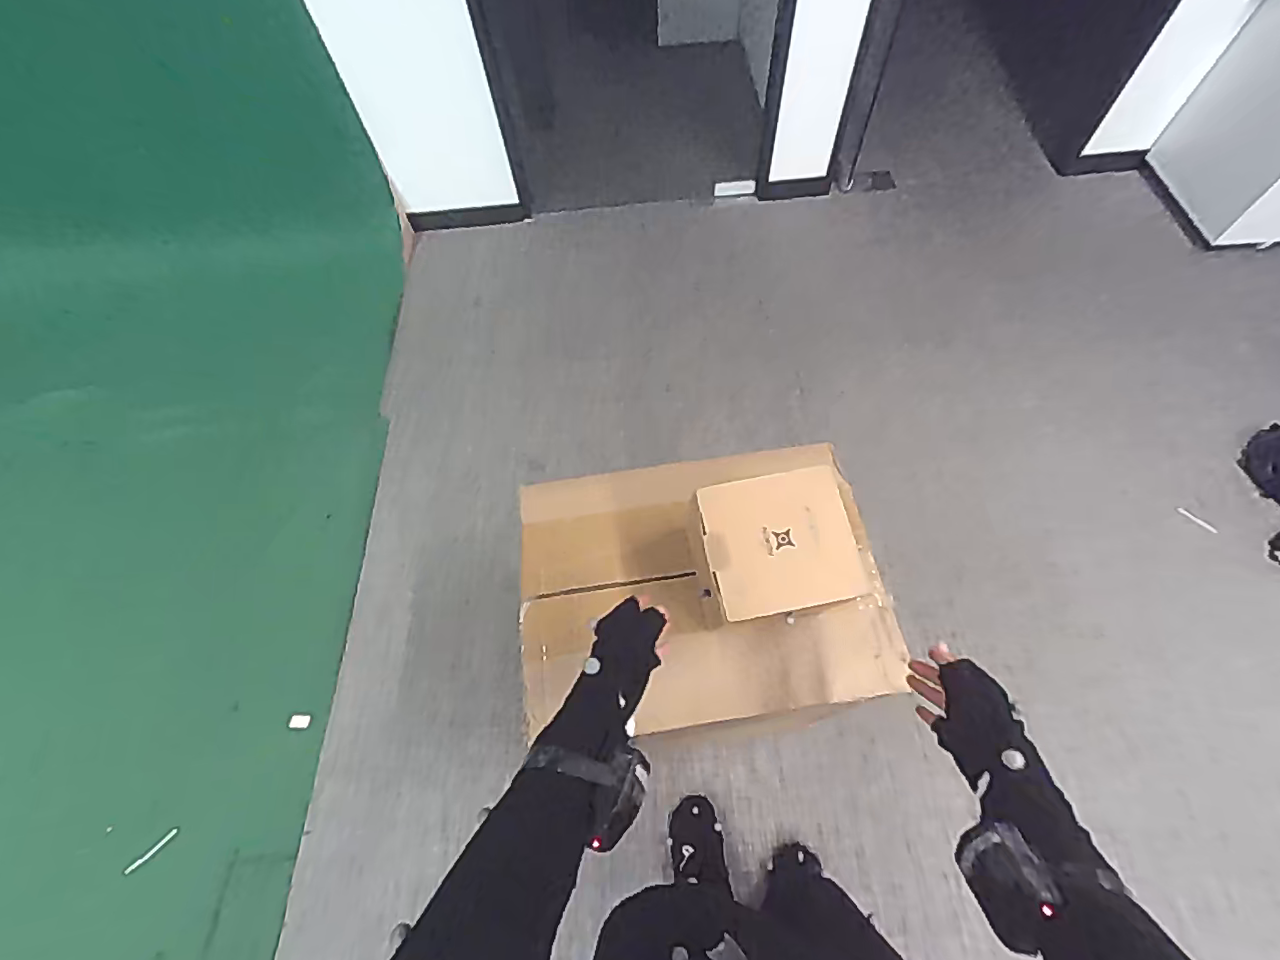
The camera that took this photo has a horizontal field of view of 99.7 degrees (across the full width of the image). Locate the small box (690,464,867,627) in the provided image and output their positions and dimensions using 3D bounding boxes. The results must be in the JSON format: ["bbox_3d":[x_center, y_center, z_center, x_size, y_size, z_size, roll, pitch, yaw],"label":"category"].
[{"bbox_3d":[0.167,0.096,0.724,0.179,0.176,0.168,-11,72,-4],"label":"small box"}]
